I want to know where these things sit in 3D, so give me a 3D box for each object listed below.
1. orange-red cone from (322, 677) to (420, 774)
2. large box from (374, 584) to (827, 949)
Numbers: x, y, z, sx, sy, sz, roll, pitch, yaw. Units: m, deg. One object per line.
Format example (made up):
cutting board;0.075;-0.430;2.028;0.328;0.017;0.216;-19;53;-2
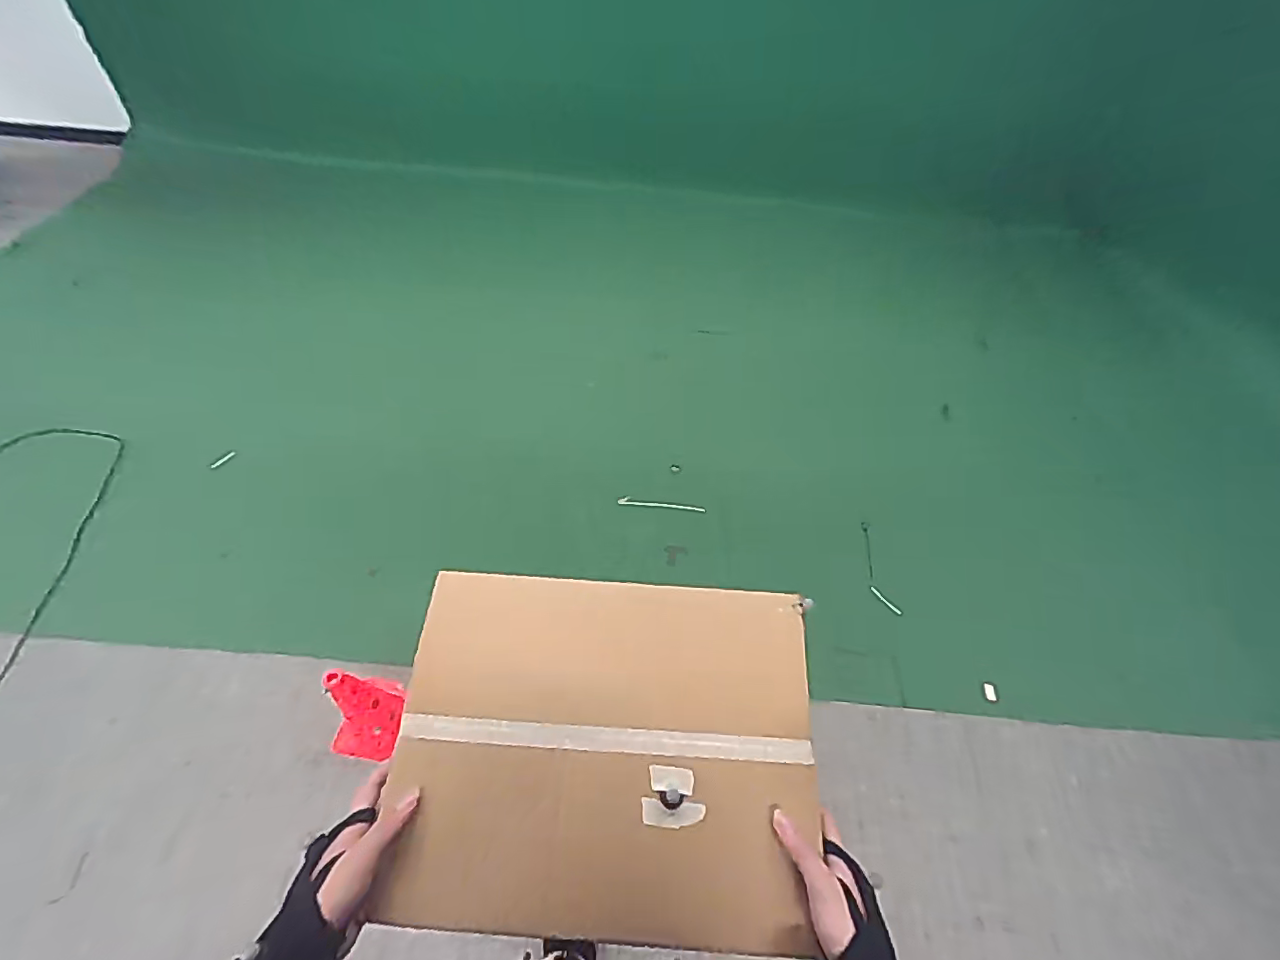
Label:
orange-red cone;-0.696;0.568;1.333;0.199;0.360;0.198;10;51;5
large box;-0.033;0.331;0.667;0.408;0.320;0.320;3;63;0
